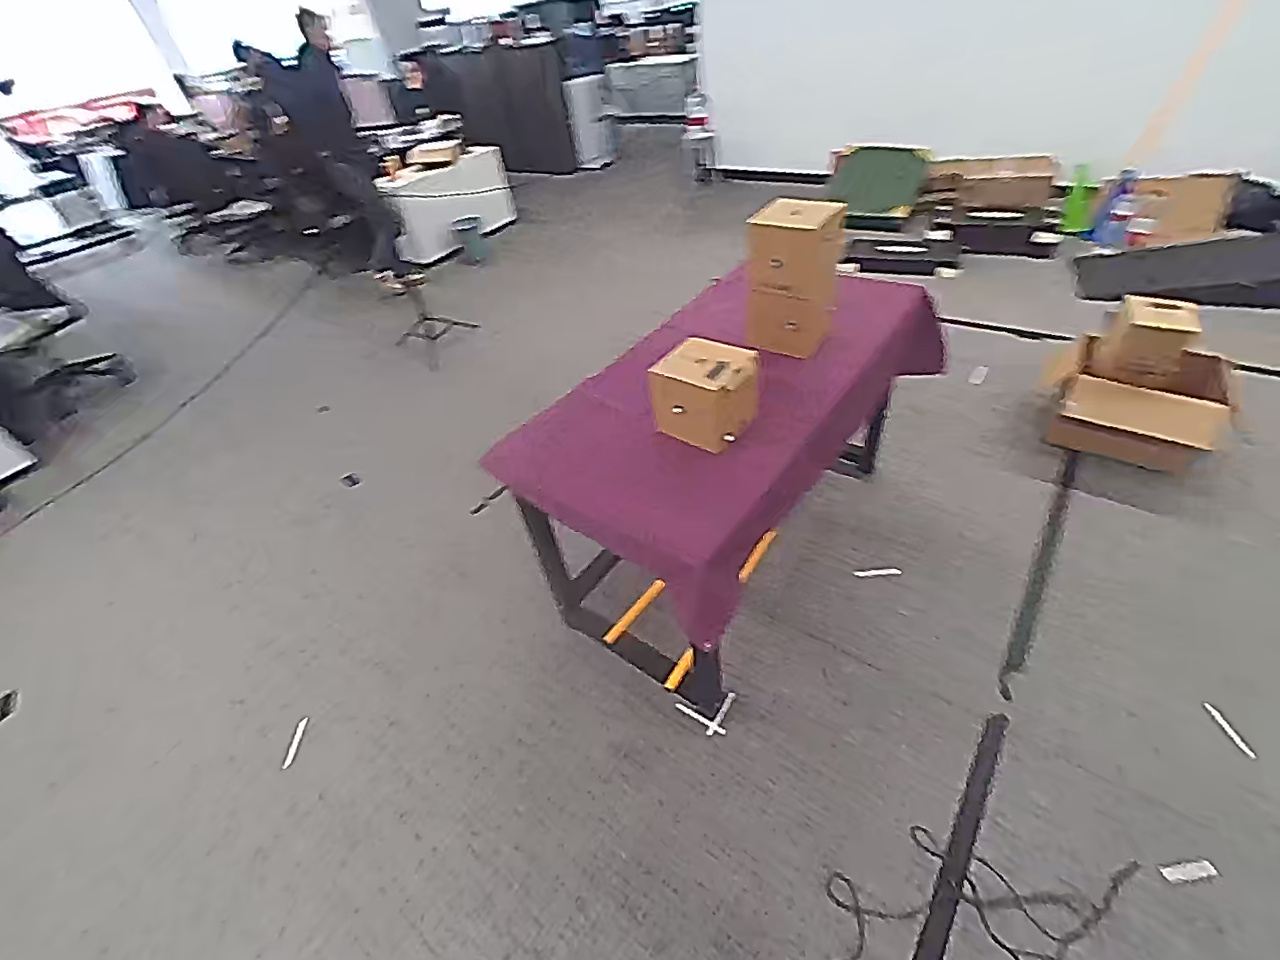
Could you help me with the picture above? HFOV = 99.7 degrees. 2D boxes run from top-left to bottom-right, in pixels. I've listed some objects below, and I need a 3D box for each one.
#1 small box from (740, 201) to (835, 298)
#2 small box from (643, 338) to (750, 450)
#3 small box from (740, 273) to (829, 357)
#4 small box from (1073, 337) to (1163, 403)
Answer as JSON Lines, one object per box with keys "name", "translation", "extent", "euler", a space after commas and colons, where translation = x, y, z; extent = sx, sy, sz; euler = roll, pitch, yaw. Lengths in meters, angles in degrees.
{"name": "small box", "translation": [0.362, -0.568, 1.333], "extent": [0.168, 0.176, 0.179], "euler": [23, 52, 30]}
{"name": "small box", "translation": [0.133, -0.191, 1.219], "extent": [0.179, 0.176, 0.168], "euler": [24, 53, 32]}
{"name": "small box", "translation": [0.383, -0.449, 1.444], "extent": [0.179, 0.176, 0.168], "euler": [21, 51, 30]}
{"name": "small box", "translation": [1.691, -0.390, 1.929], "extent": [0.179, 0.176, 0.168], "euler": [7, 49, 13]}
